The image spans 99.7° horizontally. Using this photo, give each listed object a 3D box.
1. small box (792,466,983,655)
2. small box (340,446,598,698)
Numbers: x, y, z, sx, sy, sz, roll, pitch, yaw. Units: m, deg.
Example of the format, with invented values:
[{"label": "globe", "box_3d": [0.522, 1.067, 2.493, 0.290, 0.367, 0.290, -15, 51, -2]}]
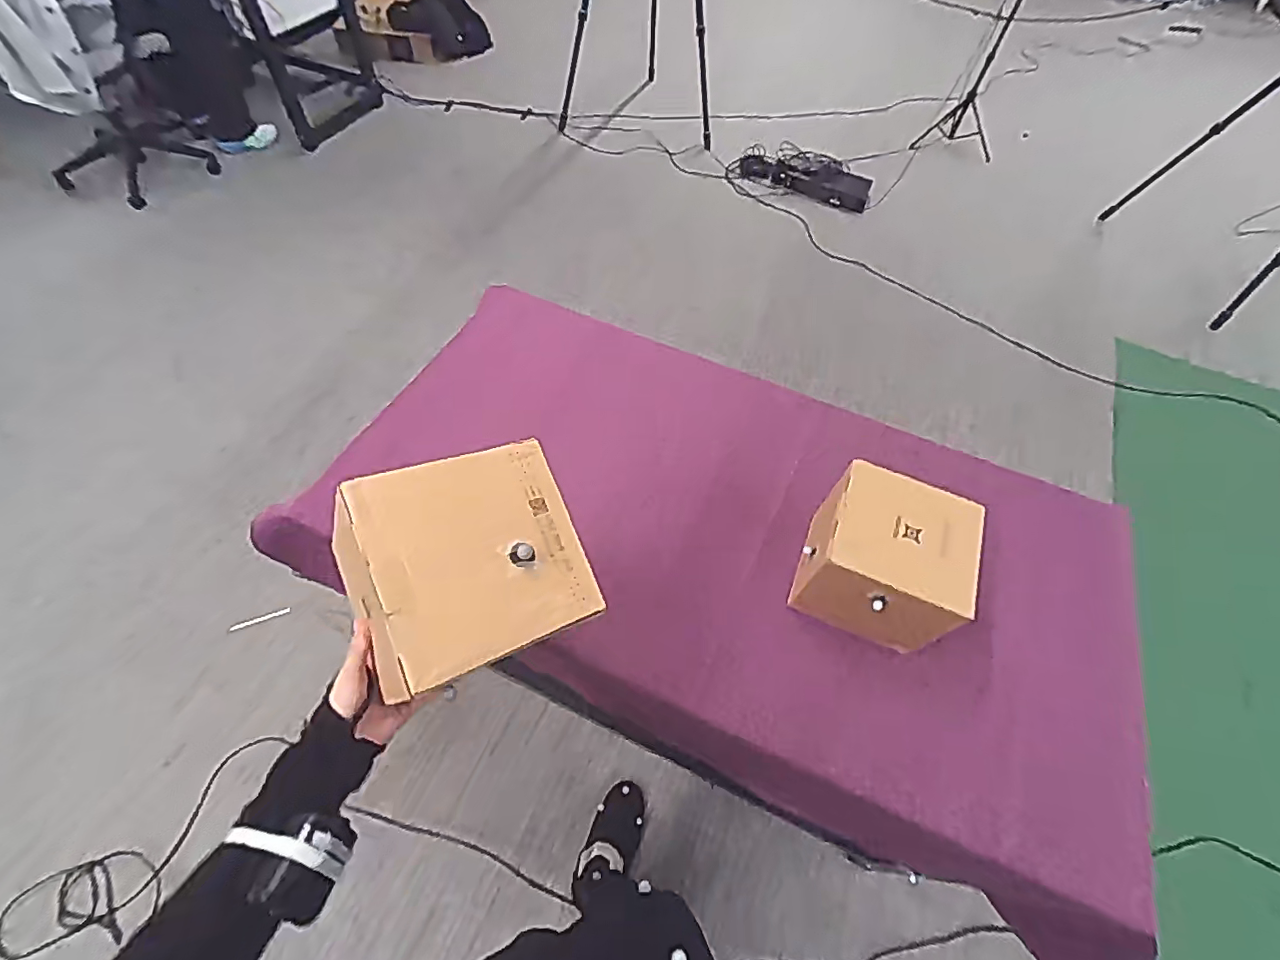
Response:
[{"label": "small box", "box_3d": [0.327, 0.116, 0.739, 0.179, 0.176, 0.168, 22, 59, 10]}, {"label": "small box", "box_3d": [-0.164, 0.086, 0.506, 0.176, 0.179, 0.168, -16, 77, -36]}]
